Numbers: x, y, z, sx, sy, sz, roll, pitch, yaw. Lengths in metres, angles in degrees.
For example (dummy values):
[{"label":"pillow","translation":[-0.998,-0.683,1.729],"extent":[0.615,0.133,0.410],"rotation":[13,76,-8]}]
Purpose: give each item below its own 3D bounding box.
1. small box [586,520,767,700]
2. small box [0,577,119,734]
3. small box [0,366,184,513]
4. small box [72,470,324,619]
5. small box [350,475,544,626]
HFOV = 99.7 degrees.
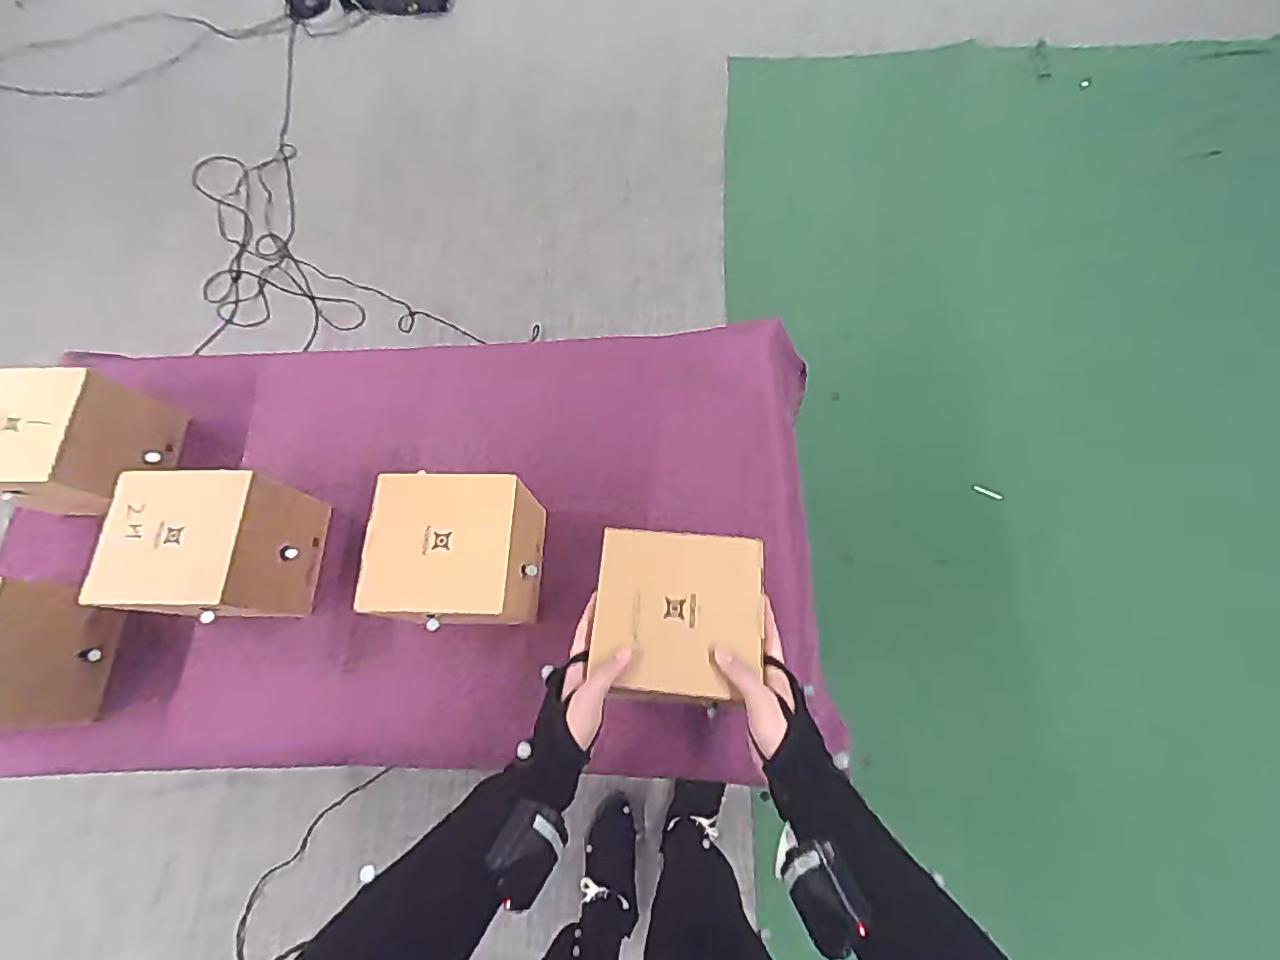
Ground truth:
[{"label":"small box","translation":[0.046,0.157,0.627],"extent":[0.179,0.176,0.168],"rotation":[4,65,6]},{"label":"small box","translation":[-0.830,0.225,0.686],"extent":[0.168,0.176,0.179],"rotation":[-2,70,3]},{"label":"small box","translation":[-0.827,-0.050,0.778],"extent":[0.179,0.176,0.168],"rotation":[0,72,3]},{"label":"small box","translation":[-0.559,0.091,0.715],"extent":[0.179,0.176,0.168],"rotation":[0,71,4]},{"label":"small box","translation":[-0.230,0.097,0.696],"extent":[0.179,0.176,0.168],"rotation":[0,72,5]}]
